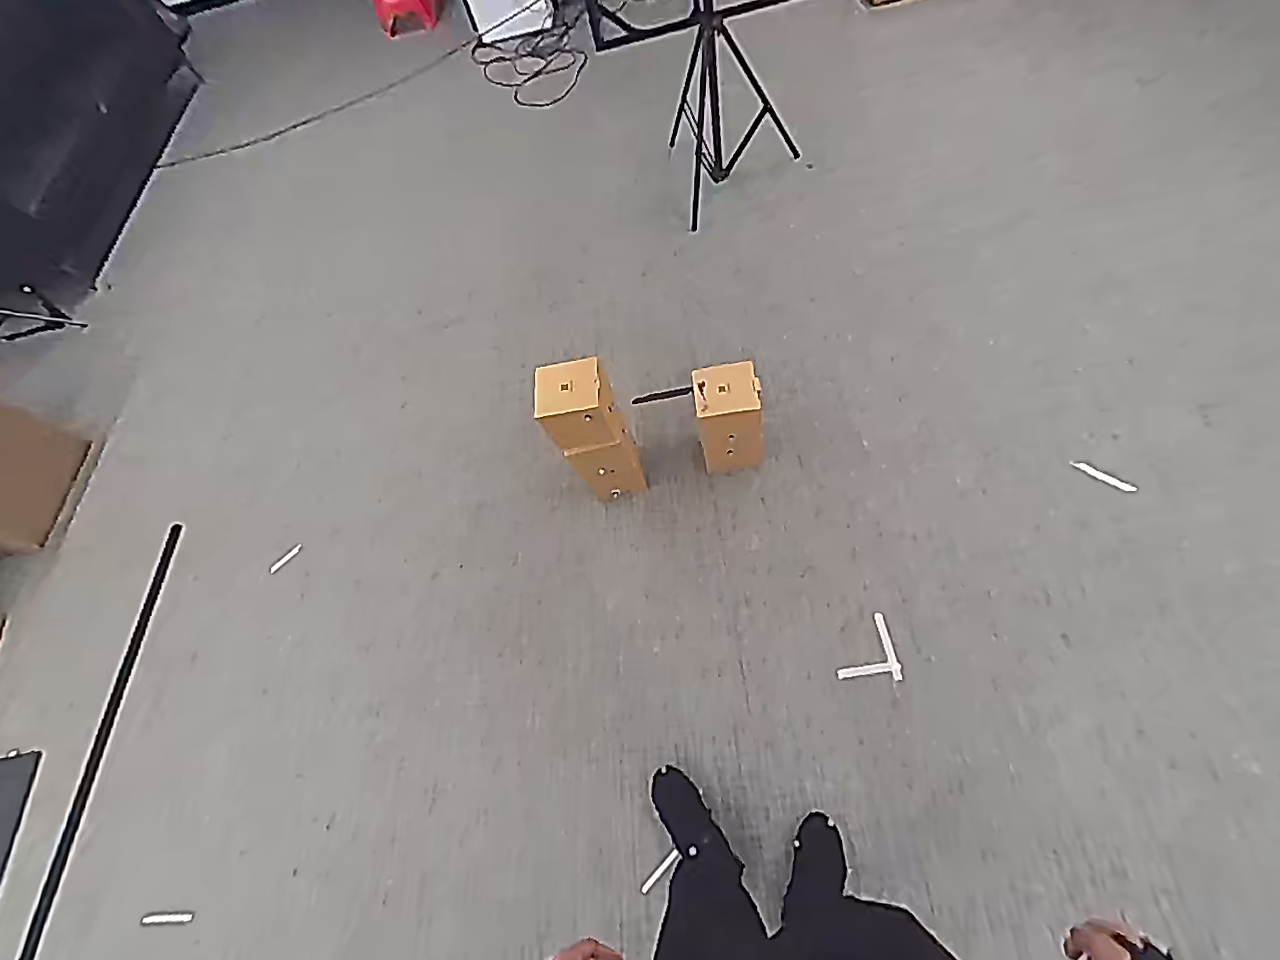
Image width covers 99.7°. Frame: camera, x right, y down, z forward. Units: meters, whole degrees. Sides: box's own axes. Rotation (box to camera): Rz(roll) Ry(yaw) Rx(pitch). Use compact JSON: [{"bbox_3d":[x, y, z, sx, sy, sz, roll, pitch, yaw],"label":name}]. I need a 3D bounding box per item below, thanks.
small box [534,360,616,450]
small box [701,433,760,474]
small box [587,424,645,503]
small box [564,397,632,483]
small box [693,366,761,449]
[{"bbox_3d":[-0.173,-0.197,1.469,0.179,0.176,0.168,-9,62,9],"label":"small box"},{"bbox_3d":[0.281,-0.131,1.709,0.179,0.176,0.168,-8,63,8],"label":"small box"},{"bbox_3d":[-0.089,-0.049,1.749,0.168,0.176,0.179,-15,62,5],"label":"small box"},{"bbox_3d":[-0.128,-0.117,1.604,0.168,0.176,0.179,-13,62,7],"label":"small box"},{"bbox_3d":[0.250,-0.205,1.565,0.179,0.176,0.168,-7,62,8],"label":"small box"}]
